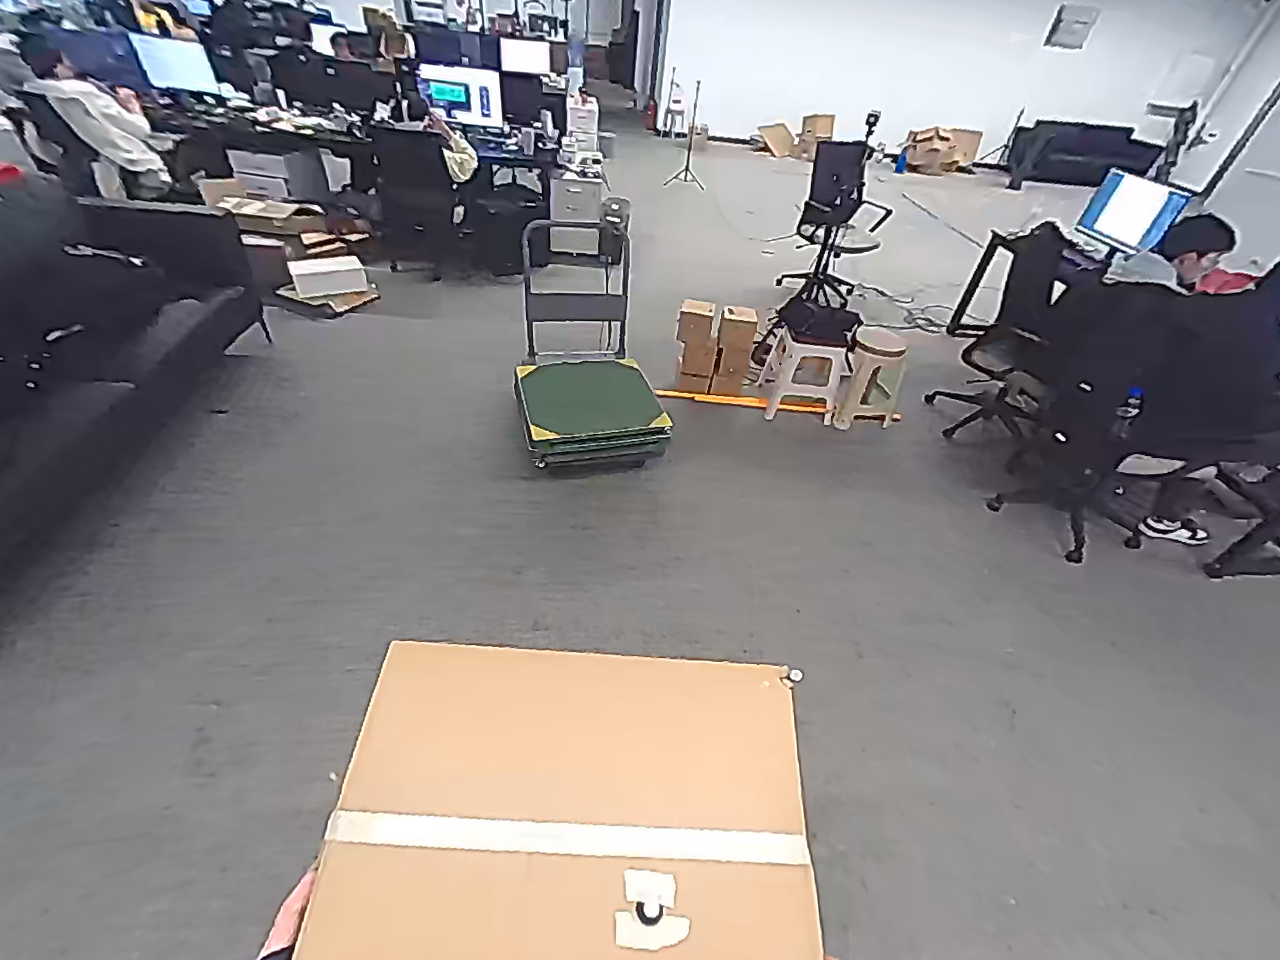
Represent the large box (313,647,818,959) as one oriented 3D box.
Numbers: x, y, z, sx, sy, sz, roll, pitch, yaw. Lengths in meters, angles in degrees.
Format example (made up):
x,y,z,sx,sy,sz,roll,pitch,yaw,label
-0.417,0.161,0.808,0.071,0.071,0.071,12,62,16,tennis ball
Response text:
x,y,z,sx,sy,sz,roll,pitch,yaw,label
-0.064,0.393,0.593,0.408,0.320,0.320,4,55,-2,large box
